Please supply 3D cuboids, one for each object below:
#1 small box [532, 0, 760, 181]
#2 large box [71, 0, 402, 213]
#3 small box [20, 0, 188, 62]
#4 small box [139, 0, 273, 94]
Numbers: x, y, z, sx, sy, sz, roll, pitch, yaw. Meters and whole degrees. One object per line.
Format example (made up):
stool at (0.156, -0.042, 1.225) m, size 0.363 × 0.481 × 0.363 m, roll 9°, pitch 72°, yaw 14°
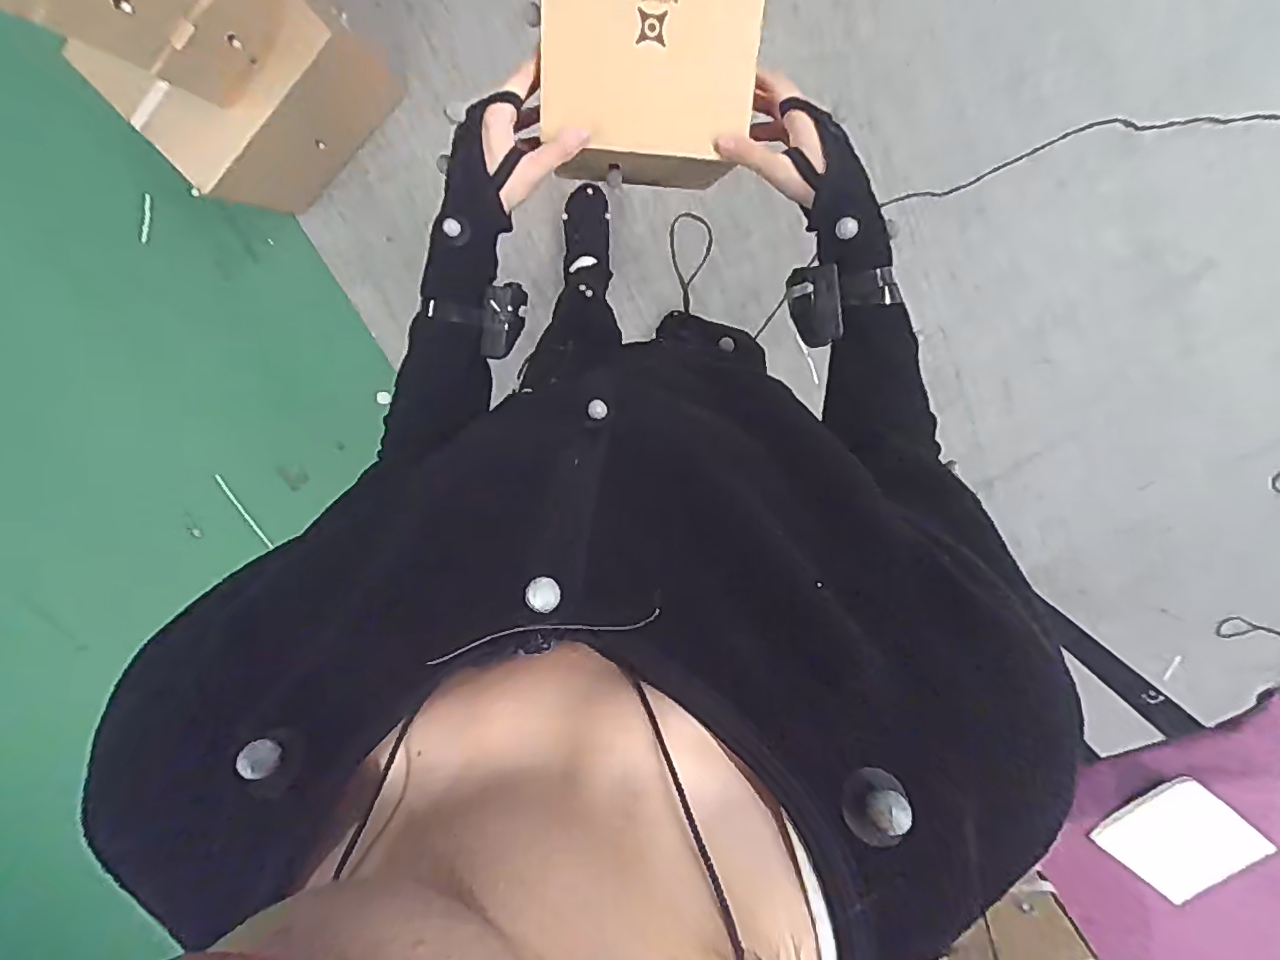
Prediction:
small box at (0.002, -0.372, 0.465) m, size 0.168 × 0.176 × 0.179 m, roll 3°, pitch 109°, yaw -6°
large box at (-0.787, -0.832, 1.110) m, size 0.408 × 0.320 × 0.320 m, roll -39°, pitch 103°, yaw 14°
small box at (-0.754, -0.719, 0.717) m, size 0.179 × 0.176 × 0.168 m, roll -39°, pitch 104°, yaw 13°
small box at (-0.751, -0.768, 0.873) m, size 0.168 × 0.176 × 0.179 m, roll -38°, pitch 104°, yaw 13°
